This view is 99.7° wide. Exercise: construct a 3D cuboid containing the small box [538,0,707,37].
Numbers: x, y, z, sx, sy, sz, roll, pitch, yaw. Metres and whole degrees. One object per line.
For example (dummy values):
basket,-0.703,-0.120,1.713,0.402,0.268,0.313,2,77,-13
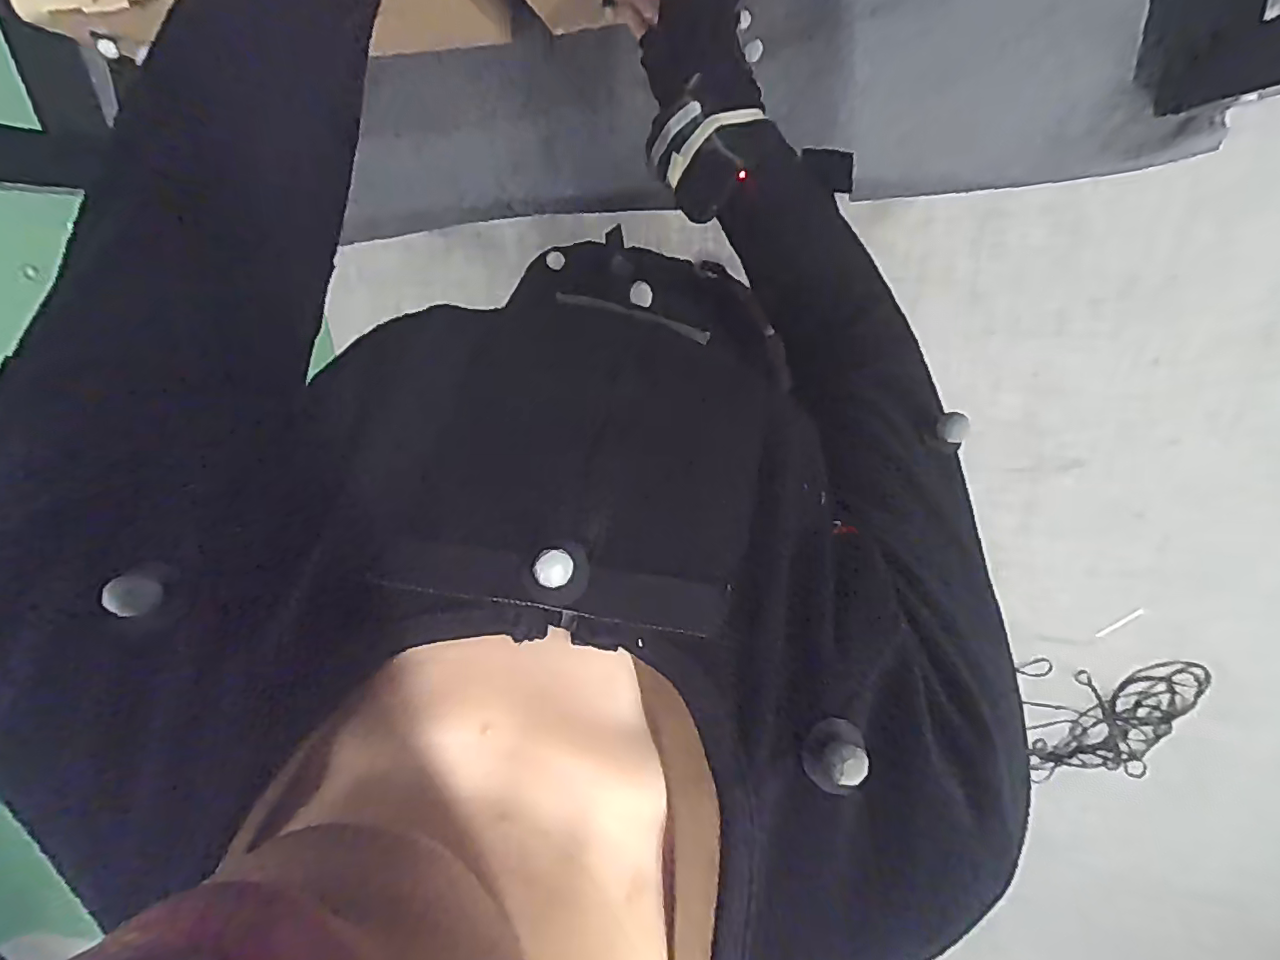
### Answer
small box,-0.026,-0.511,0.448,0.168,0.176,0.179,-4,116,8
